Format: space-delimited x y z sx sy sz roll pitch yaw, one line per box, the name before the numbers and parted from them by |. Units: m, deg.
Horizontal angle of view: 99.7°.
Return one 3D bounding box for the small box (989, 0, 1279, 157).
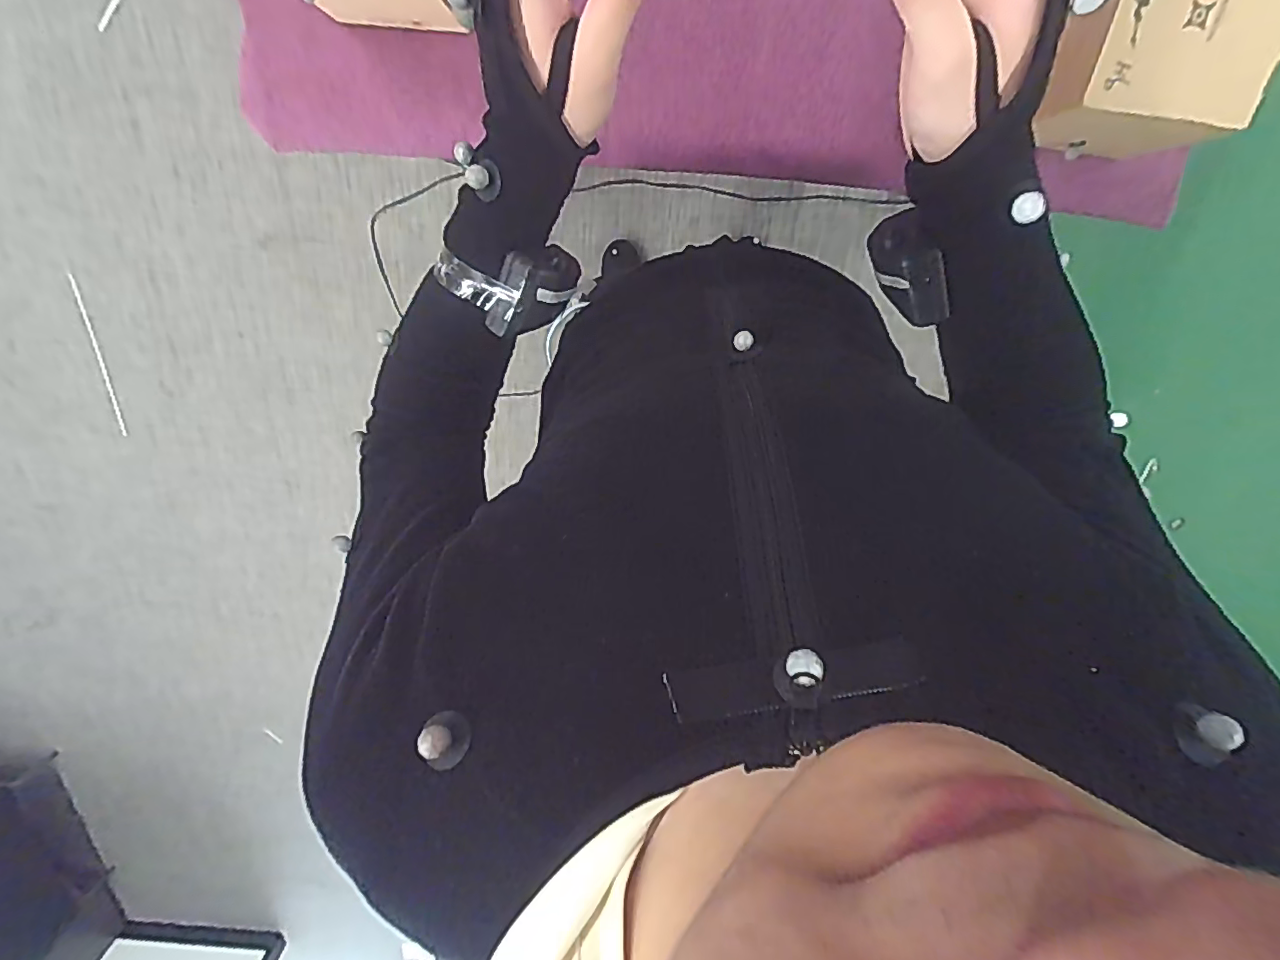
small box | 0.540 -0.471 0.597 0.179 0.176 0.168 8 112 -1
